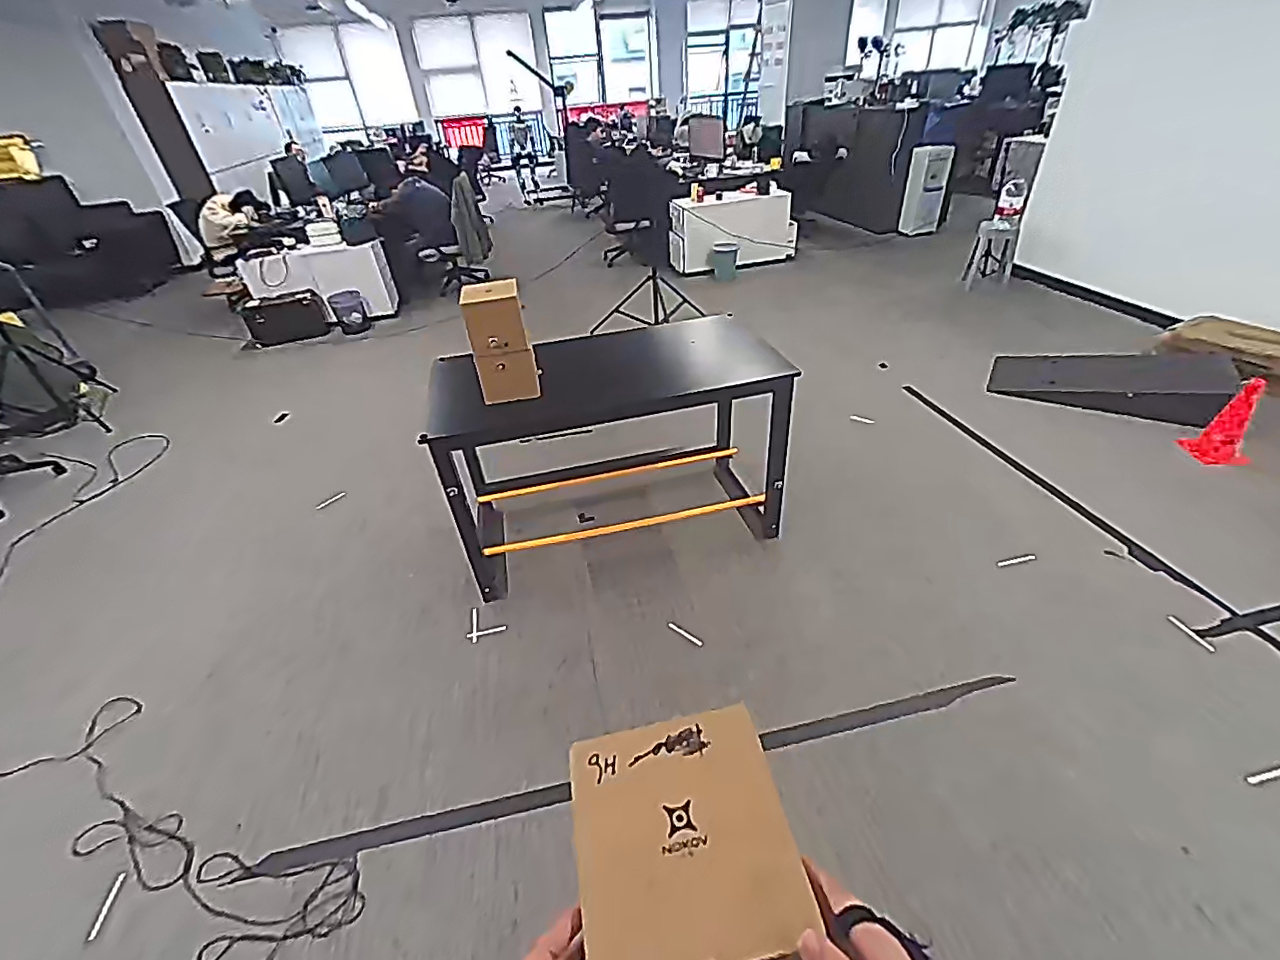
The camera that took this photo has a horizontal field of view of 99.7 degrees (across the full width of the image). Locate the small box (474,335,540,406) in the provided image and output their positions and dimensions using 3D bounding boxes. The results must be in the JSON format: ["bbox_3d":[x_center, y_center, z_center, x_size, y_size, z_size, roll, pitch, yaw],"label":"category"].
[{"bbox_3d":[-0.430,-0.355,1.760,0.179,0.176,0.168,-10,36,-8],"label":"small box"}]

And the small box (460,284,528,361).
[{"bbox_3d":[-0.444,-0.484,1.662,0.168,0.176,0.179,-12,38,-7],"label":"small box"}]

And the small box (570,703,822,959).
[{"bbox_3d":[0.041,0.332,0.474,0.168,0.176,0.179,-12,41,-4],"label":"small box"}]
